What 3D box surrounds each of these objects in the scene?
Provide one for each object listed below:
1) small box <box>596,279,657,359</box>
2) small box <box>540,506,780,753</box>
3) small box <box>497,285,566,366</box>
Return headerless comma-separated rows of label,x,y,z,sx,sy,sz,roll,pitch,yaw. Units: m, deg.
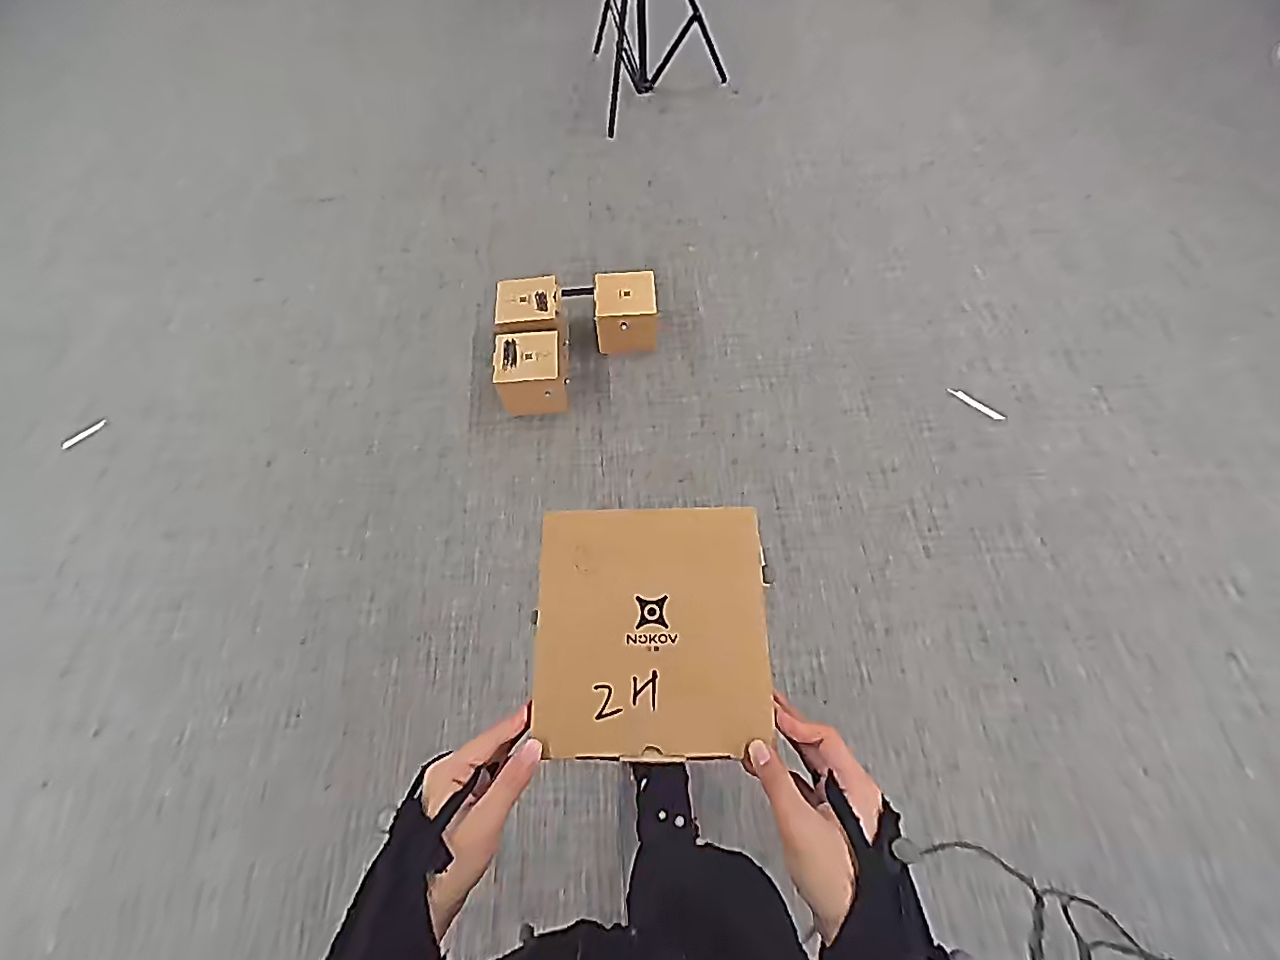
small box,-0.039,-0.484,1.640,0.179,0.176,0.168,-4,64,1
small box,0.017,0.133,0.469,0.168,0.176,0.179,-3,69,4
small box,-0.323,-0.464,1.640,0.179,0.176,0.168,-5,64,1
